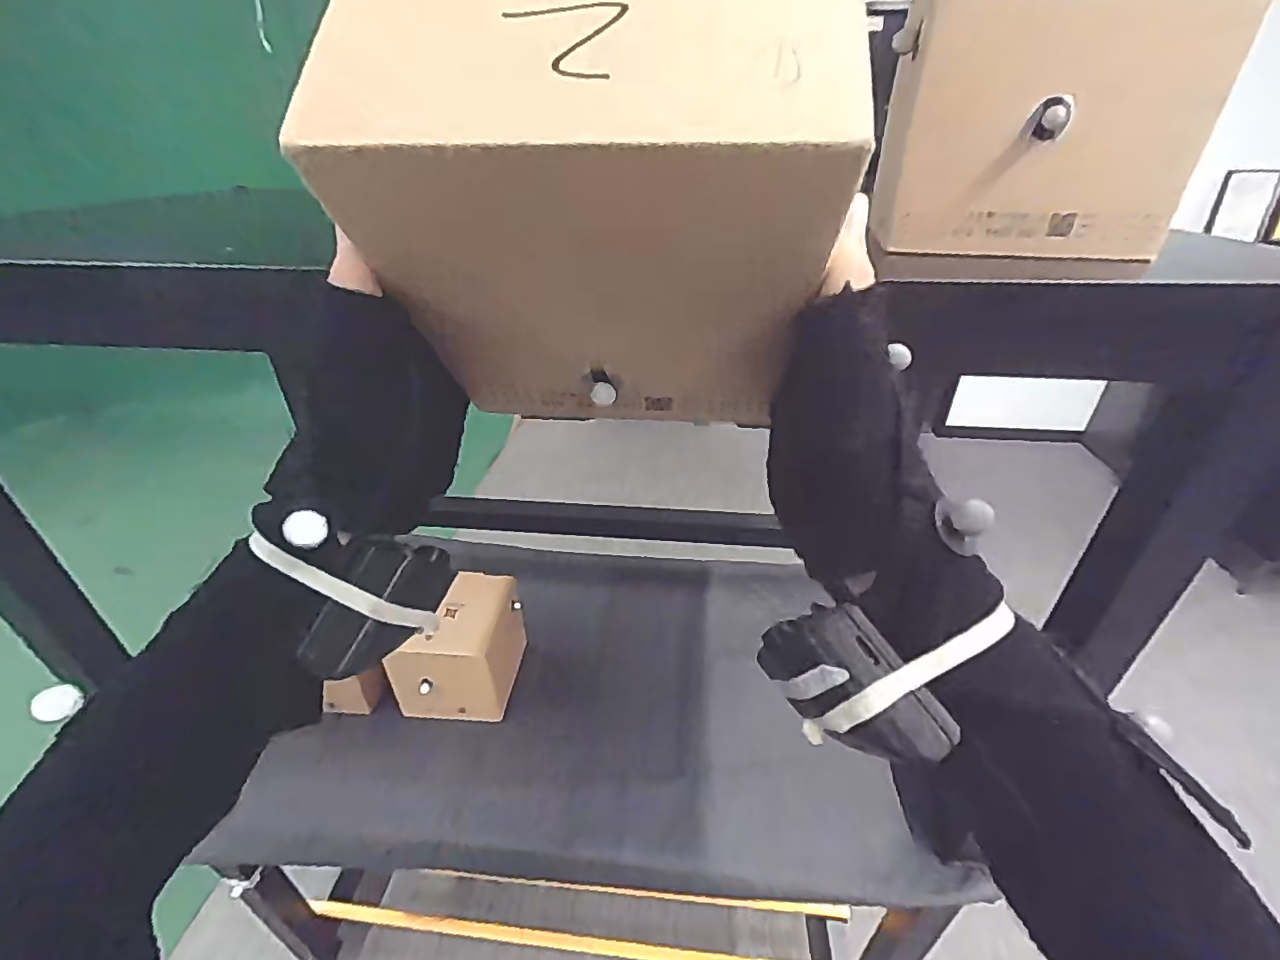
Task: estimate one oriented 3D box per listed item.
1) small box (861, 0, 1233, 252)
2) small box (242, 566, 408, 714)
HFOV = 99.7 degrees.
[{"bbox_3d":[0.266,-0.268,0.394,0.168,0.176,0.179,8,33,14],"label":"small box"},{"bbox_3d":[-0.520,0.270,0.928,0.168,0.176,0.179,1,32,3],"label":"small box"}]
